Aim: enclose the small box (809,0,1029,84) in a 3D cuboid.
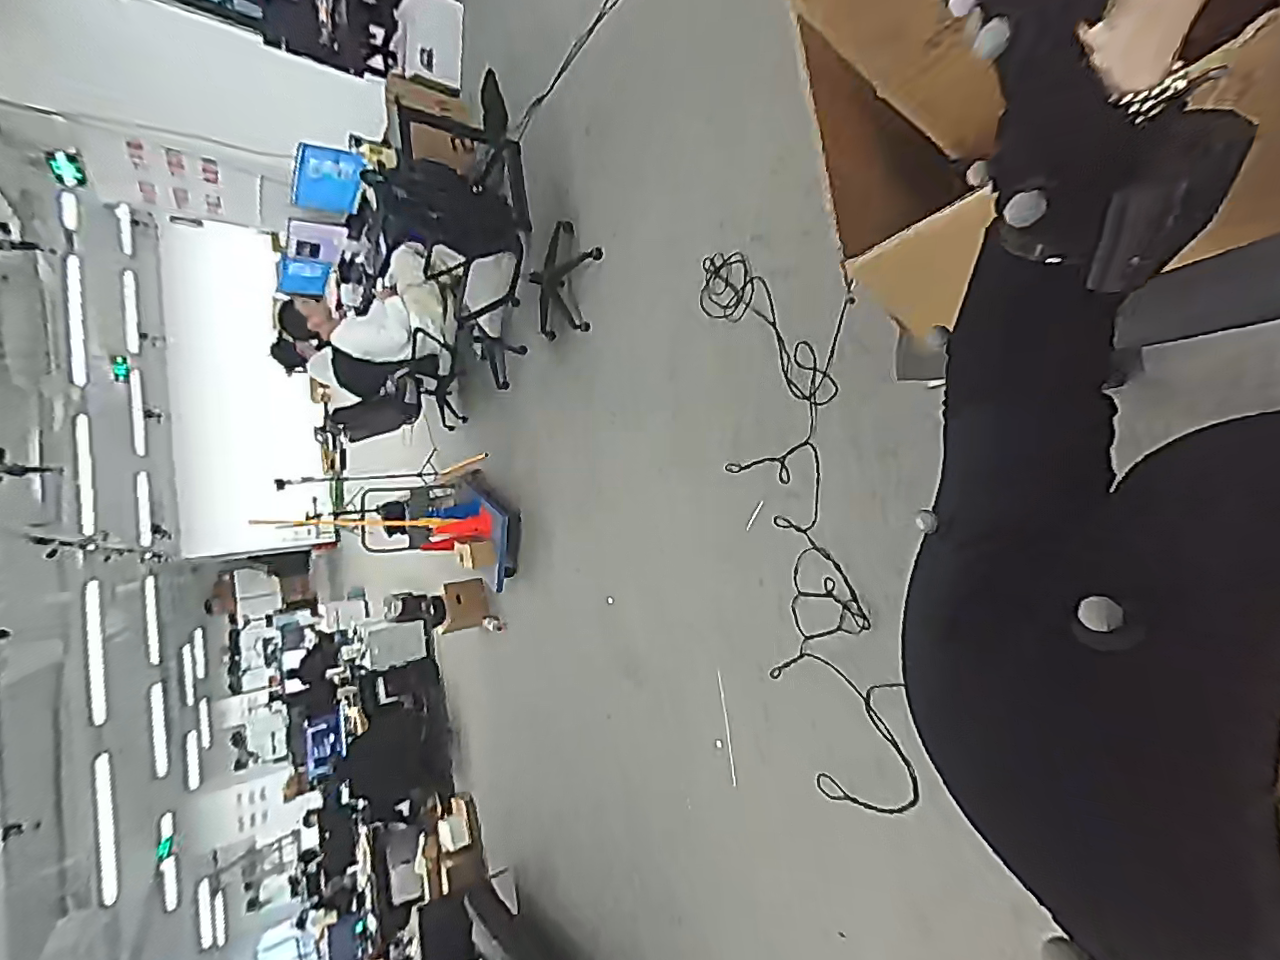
[{"bbox_3d":[0.195,-0.426,0.362,0.168,0.176,0.179,-14,82,48],"label":"small box"}]
